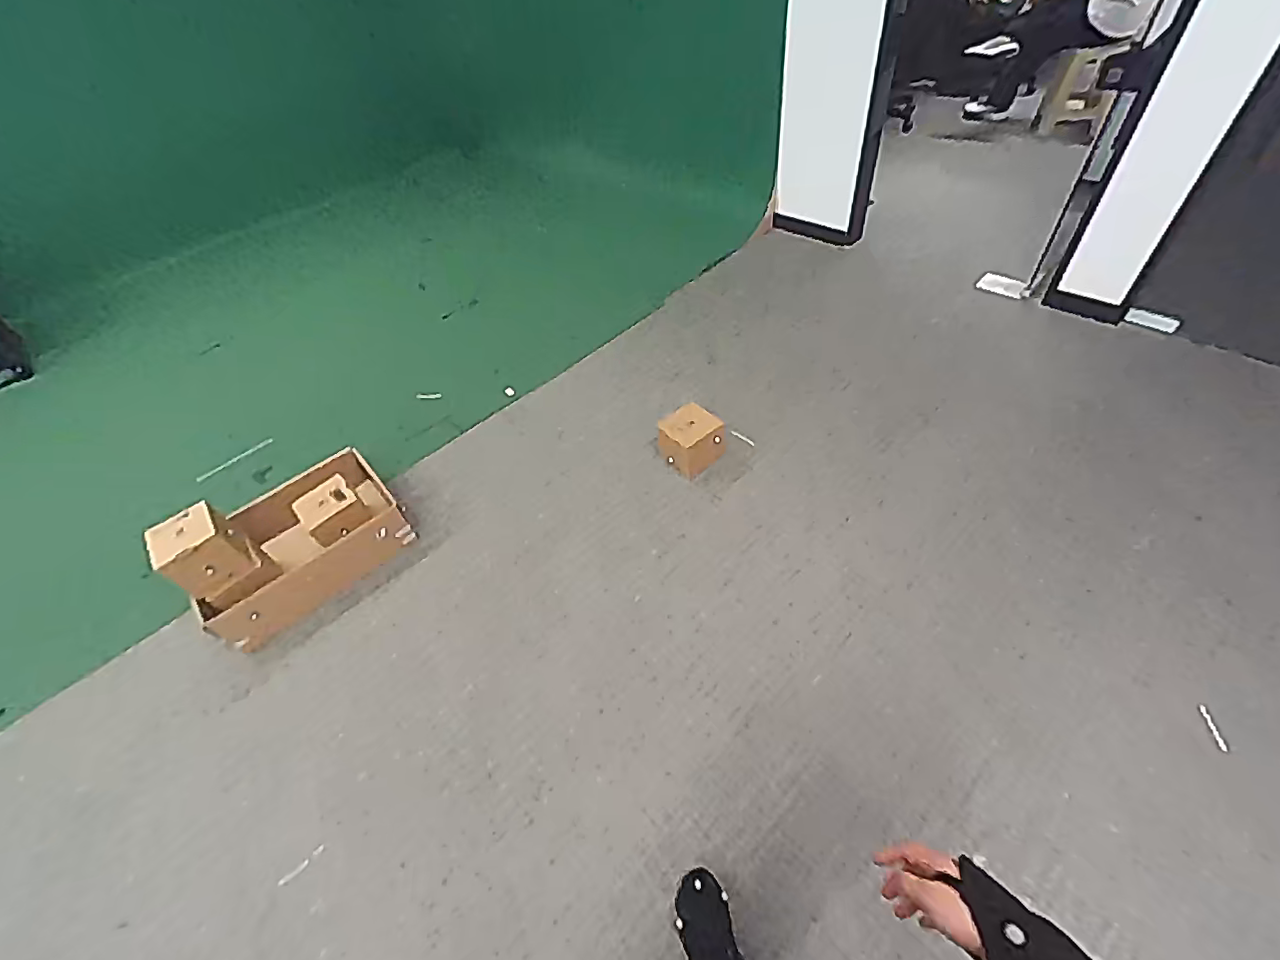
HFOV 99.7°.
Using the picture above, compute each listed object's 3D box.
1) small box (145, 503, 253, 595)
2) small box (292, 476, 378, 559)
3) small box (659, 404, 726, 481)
[{"bbox_3d":[-1.261,0.206,1.555,0.168,0.176,0.179,-36,55,-21],"label":"small box"},{"bbox_3d":[-1.005,0.128,1.801,0.179,0.176,0.168,-38,55,-21],"label":"small box"},{"bbox_3d":[0.185,-0.132,1.917,0.179,0.176,0.168,-34,52,-20],"label":"small box"}]
